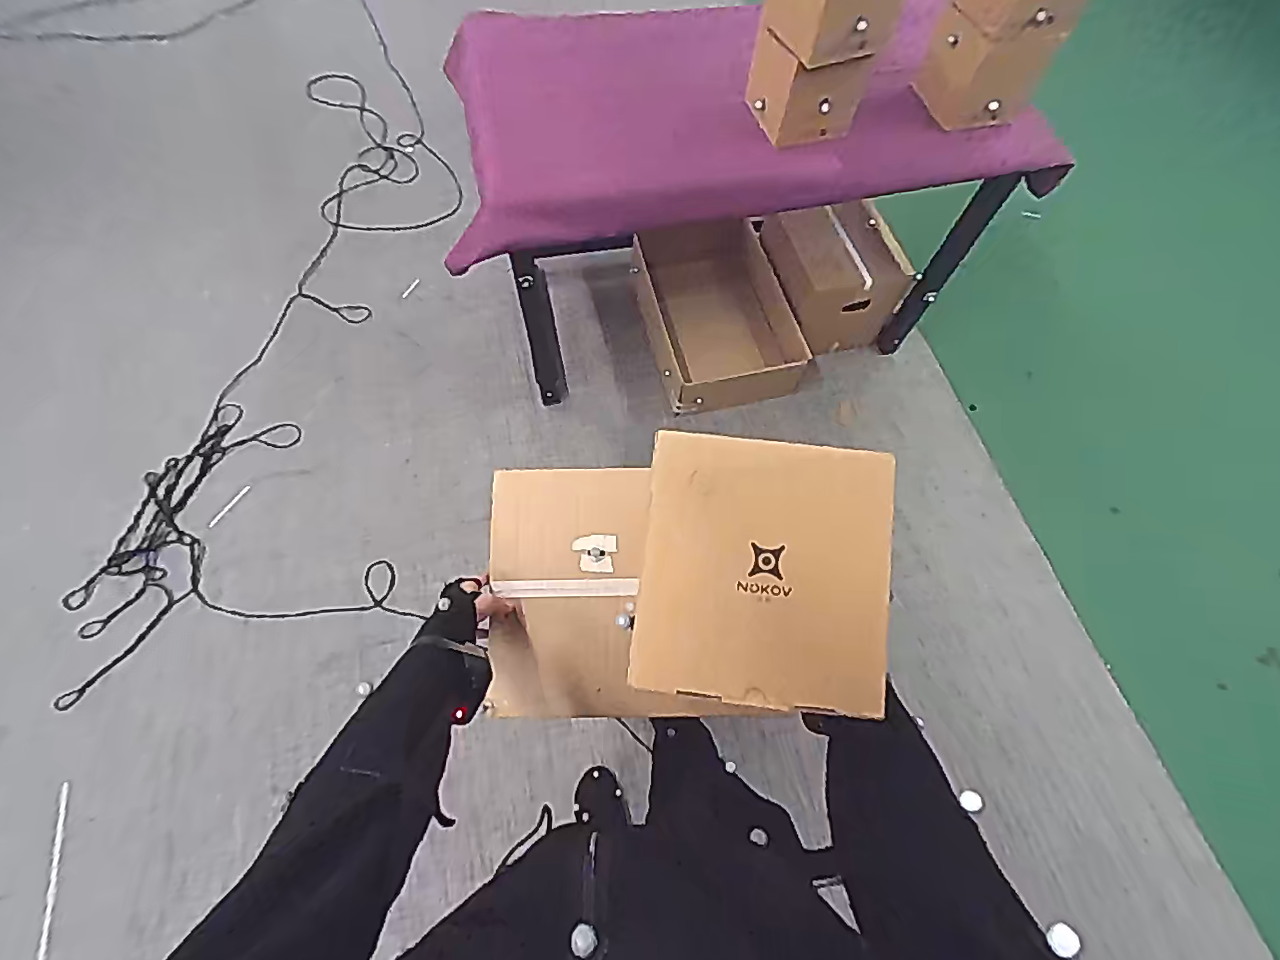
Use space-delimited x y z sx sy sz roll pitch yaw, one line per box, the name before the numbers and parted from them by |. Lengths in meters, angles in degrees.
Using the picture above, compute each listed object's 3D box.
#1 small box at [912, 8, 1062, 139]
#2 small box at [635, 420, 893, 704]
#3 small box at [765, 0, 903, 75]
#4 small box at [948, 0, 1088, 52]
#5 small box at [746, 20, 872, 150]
small box | 0.708 -0.851 1.129 0.168 0.176 0.179 -11 65 -6
small box | 0.086 0.064 0.442 0.168 0.176 0.179 6 81 2
small box | 0.336 -0.844 0.931 0.168 0.176 0.179 -20 67 -10
small box | 0.706 -0.922 0.983 0.168 0.176 0.179 -13 65 -7
small box | 0.332 -0.795 1.091 0.168 0.176 0.179 -14 66 -9
